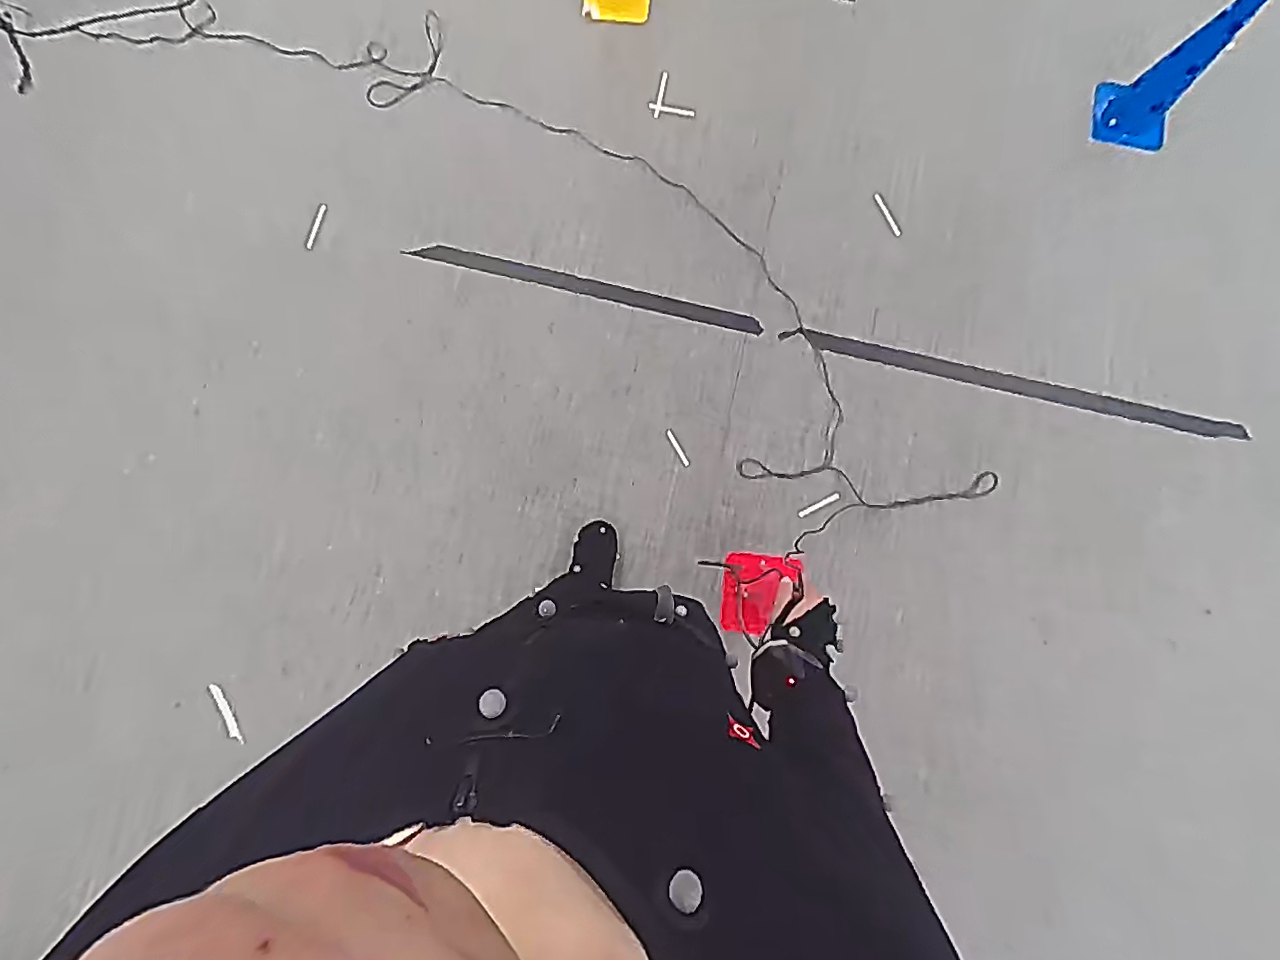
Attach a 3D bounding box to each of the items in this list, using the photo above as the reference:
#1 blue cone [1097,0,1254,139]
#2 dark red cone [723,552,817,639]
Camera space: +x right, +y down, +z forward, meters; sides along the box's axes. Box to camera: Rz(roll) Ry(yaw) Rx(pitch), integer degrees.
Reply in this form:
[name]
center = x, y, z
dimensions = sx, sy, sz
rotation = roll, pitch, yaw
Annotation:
[blue cone]
center = 1.410, -1.099, 1.392
dimensions = 0.193, 0.380, 0.192
rotation = 14, 80, 3
[dark red cone]
center = 0.306, 0.253, 1.162
dimensions = 0.202, 0.394, 0.201
rotation = 6, 80, 2
